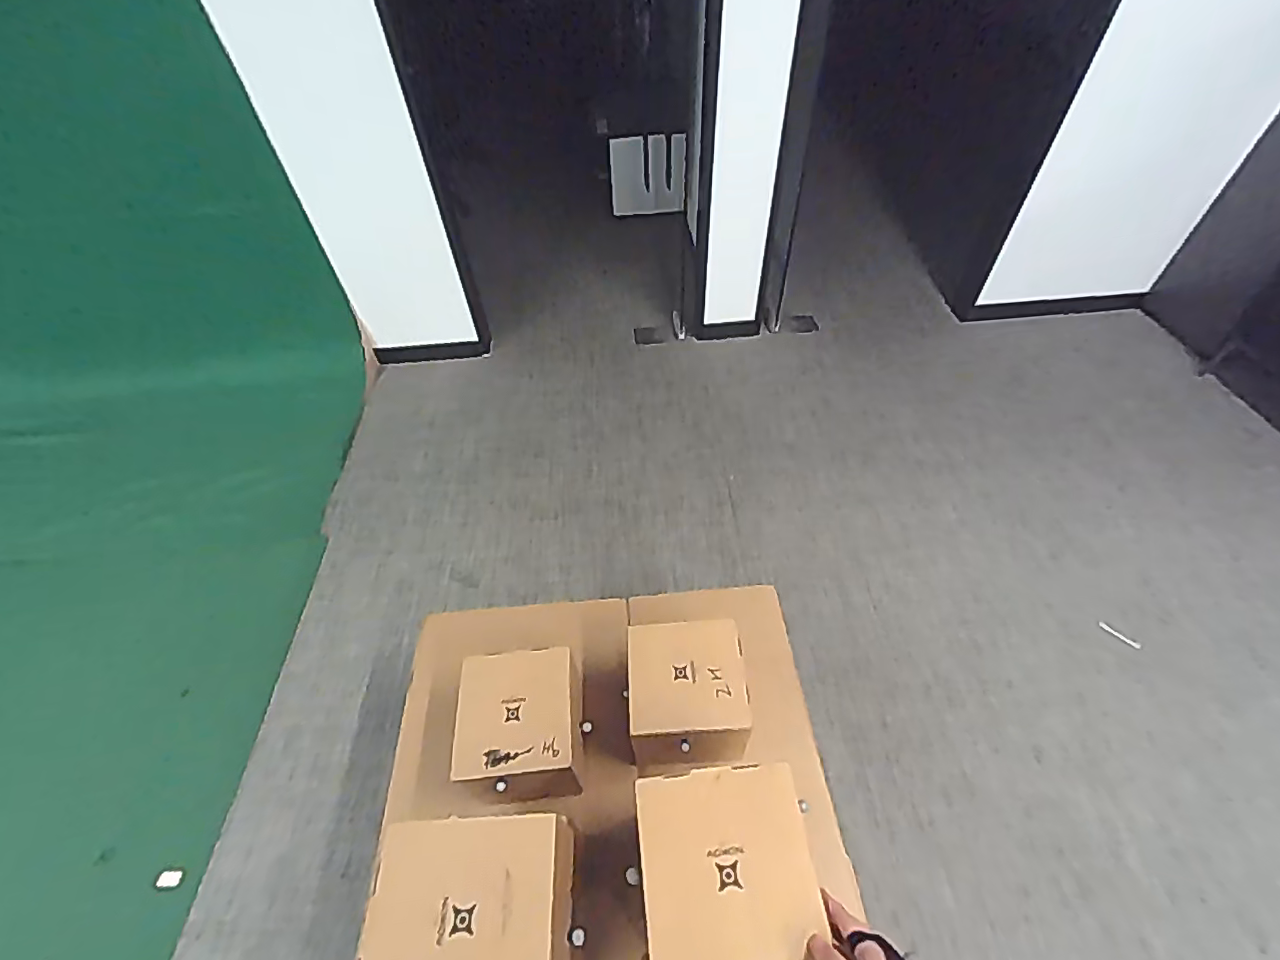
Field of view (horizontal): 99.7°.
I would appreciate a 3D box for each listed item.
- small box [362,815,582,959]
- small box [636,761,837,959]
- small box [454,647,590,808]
[{"bbox_3d":[-0.161,0.460,0.562,0.179,0.176,0.168,-3,51,0],"label":"small box"},{"bbox_3d":[0.091,0.423,0.575,0.168,0.176,0.179,-8,48,-1],"label":"small box"},{"bbox_3d":[-0.171,0.385,0.840,0.168,0.176,0.179,-7,48,0],"label":"small box"}]
